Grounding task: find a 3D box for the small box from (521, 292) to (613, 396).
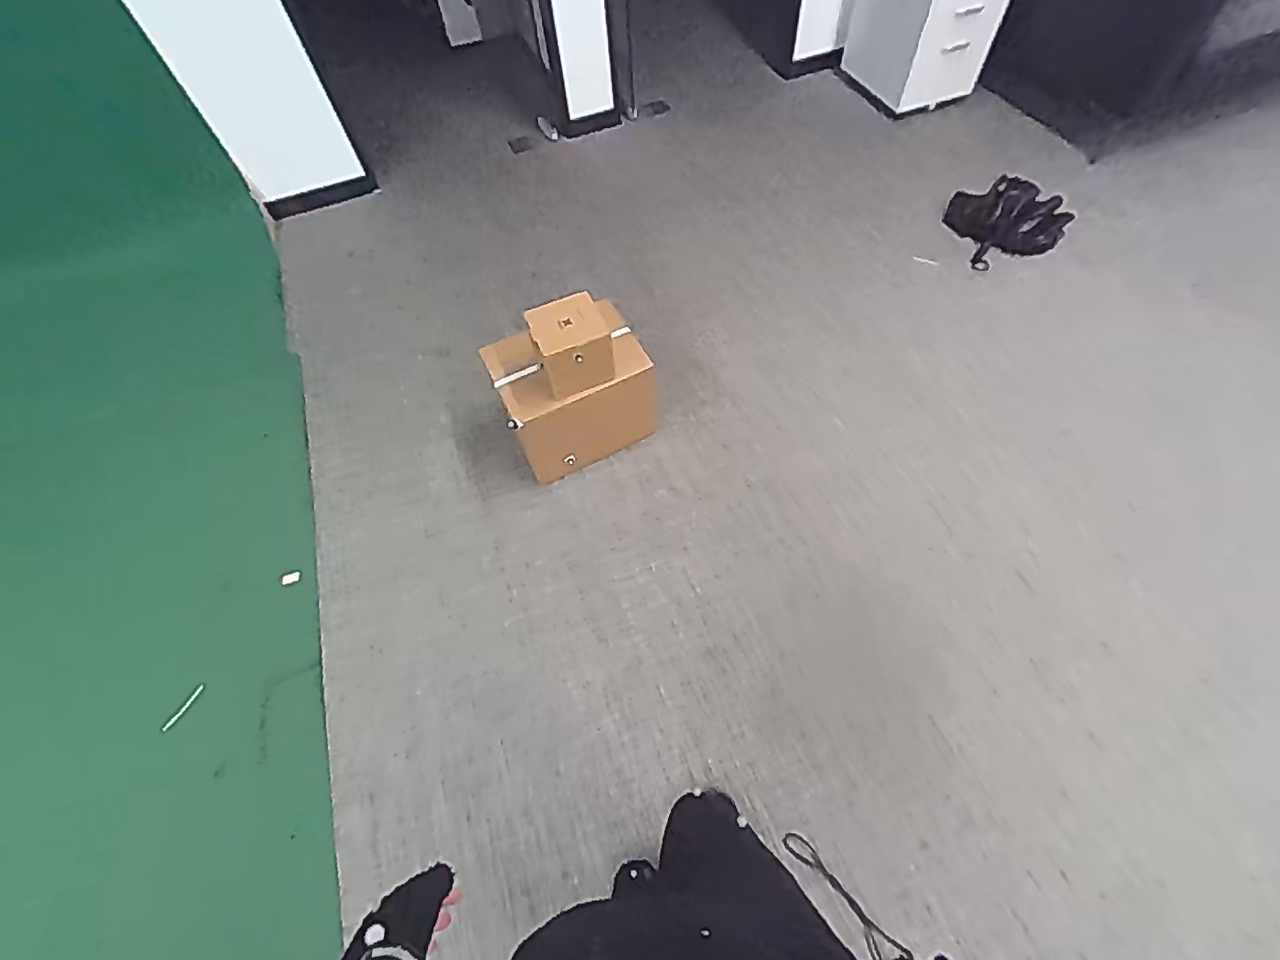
[{"bbox_3d":[-0.181,-0.342,1.384,0.179,0.176,0.168,-22,63,-10],"label":"small box"}]
